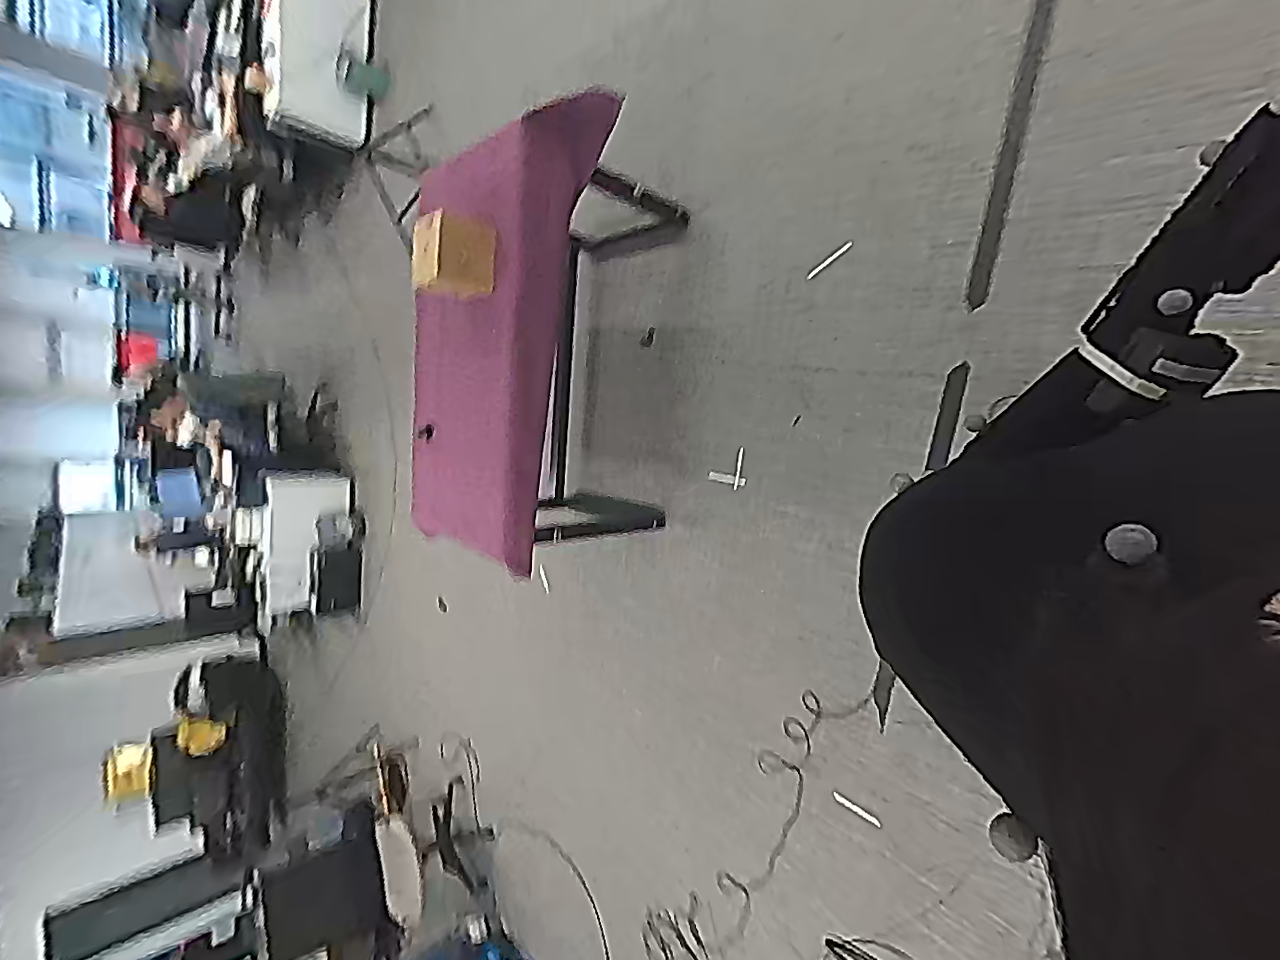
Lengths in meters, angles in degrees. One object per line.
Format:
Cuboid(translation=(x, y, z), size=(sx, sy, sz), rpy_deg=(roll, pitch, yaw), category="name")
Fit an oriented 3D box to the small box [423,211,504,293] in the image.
Cuboid(translation=(-0.503, -0.641, 1.547), size=(0.168, 0.176, 0.179), rpy_deg=(12, 101, 44), category="small box")
